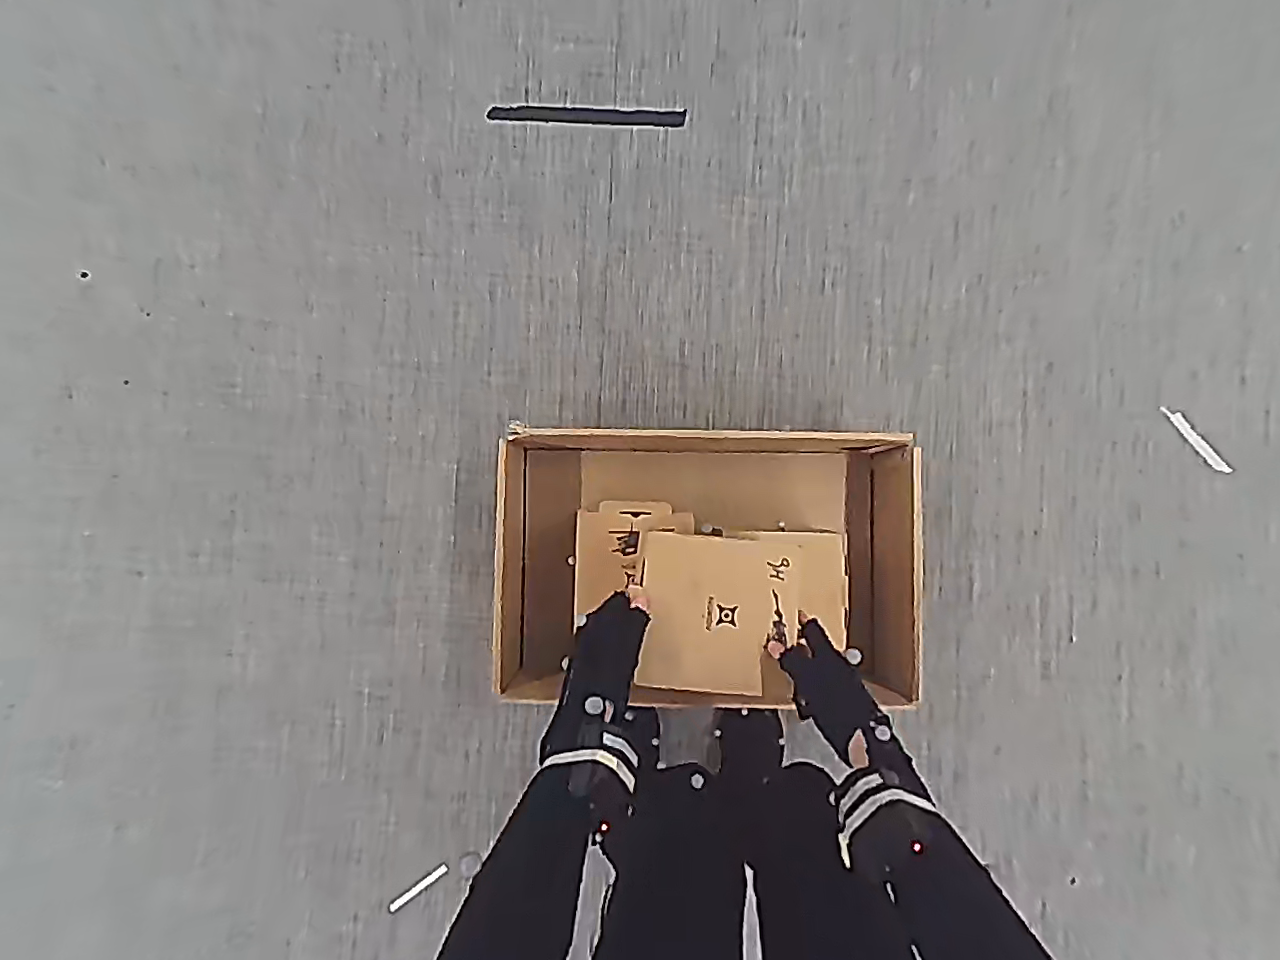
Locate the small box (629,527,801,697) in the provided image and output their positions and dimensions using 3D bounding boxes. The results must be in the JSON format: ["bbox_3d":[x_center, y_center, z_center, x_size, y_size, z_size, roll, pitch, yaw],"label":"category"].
[{"bbox_3d":[0.080,0.151,0.660,0.179,0.176,0.168,6,83,-2],"label":"small box"}]

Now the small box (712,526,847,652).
[{"bbox_3d":[0.201,0.159,0.835,0.179,0.176,0.168,2,87,1],"label":"small box"}]
